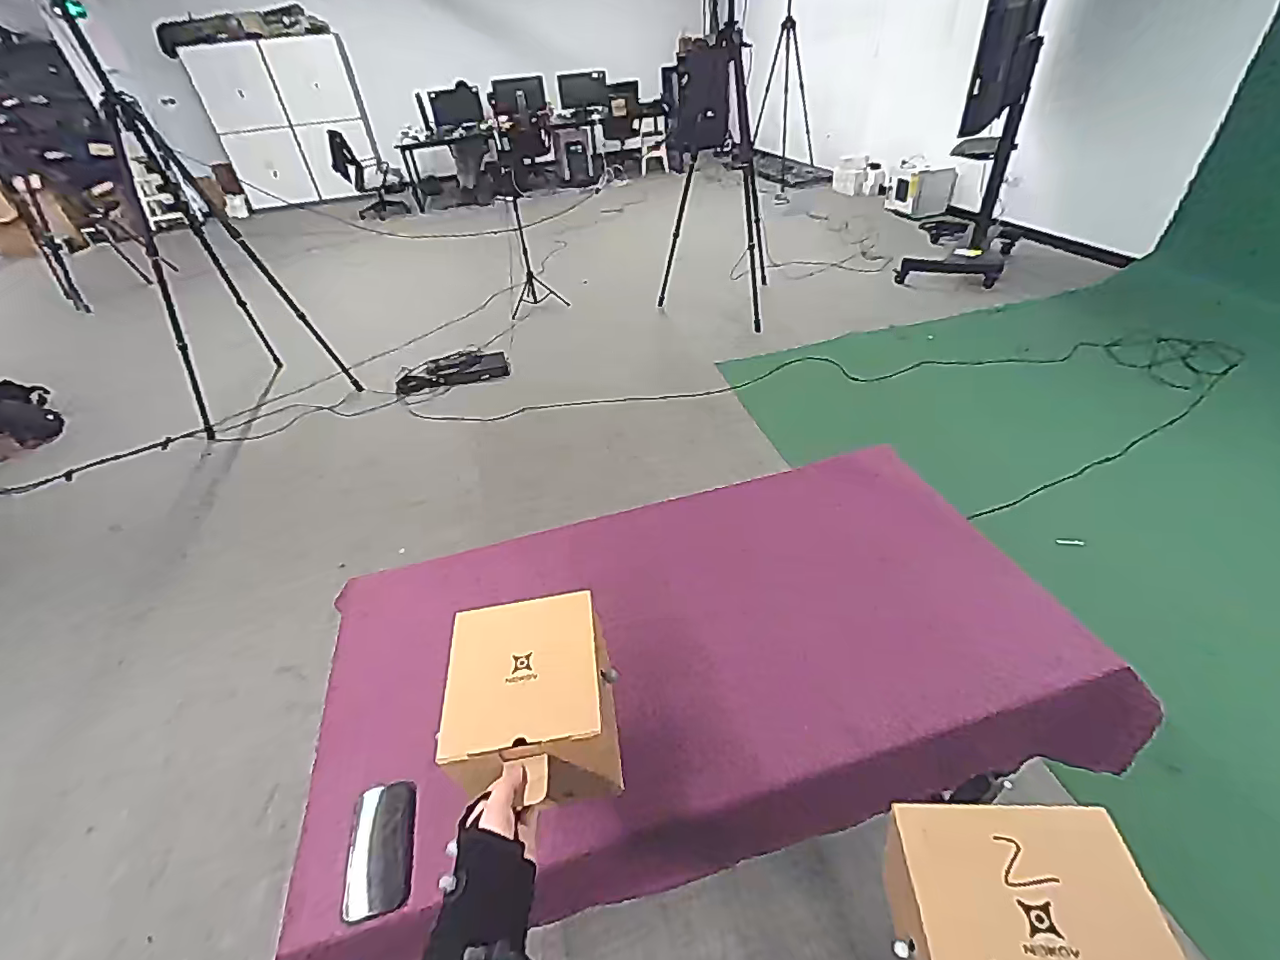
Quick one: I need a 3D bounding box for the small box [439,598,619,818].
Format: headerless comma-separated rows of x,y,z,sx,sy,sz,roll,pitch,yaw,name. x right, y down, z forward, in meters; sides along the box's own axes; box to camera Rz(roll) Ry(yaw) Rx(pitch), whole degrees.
-0.121,0.271,0.645,0.168,0.176,0.179,-9,43,-2,small box
